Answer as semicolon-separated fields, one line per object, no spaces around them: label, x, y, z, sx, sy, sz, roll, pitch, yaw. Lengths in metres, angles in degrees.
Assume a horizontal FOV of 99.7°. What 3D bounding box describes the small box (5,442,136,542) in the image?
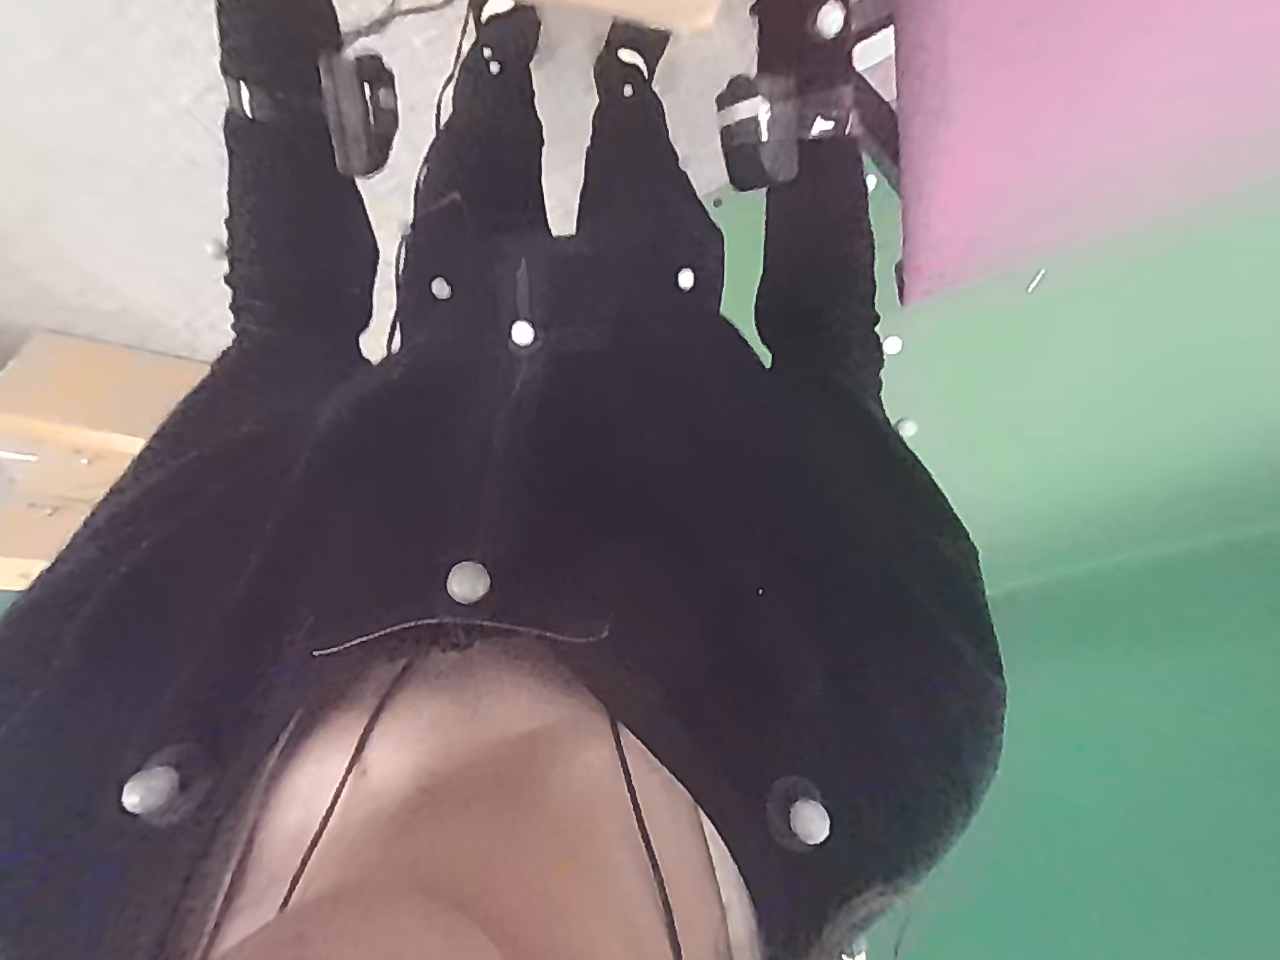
small box;-1.438;0.033;1.383;0.168;0.176;0.179;14;138;-25

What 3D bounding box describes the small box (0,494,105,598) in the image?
small box;-1.425;0.158;1.279;0.168;0.176;0.179;11;140;-23
